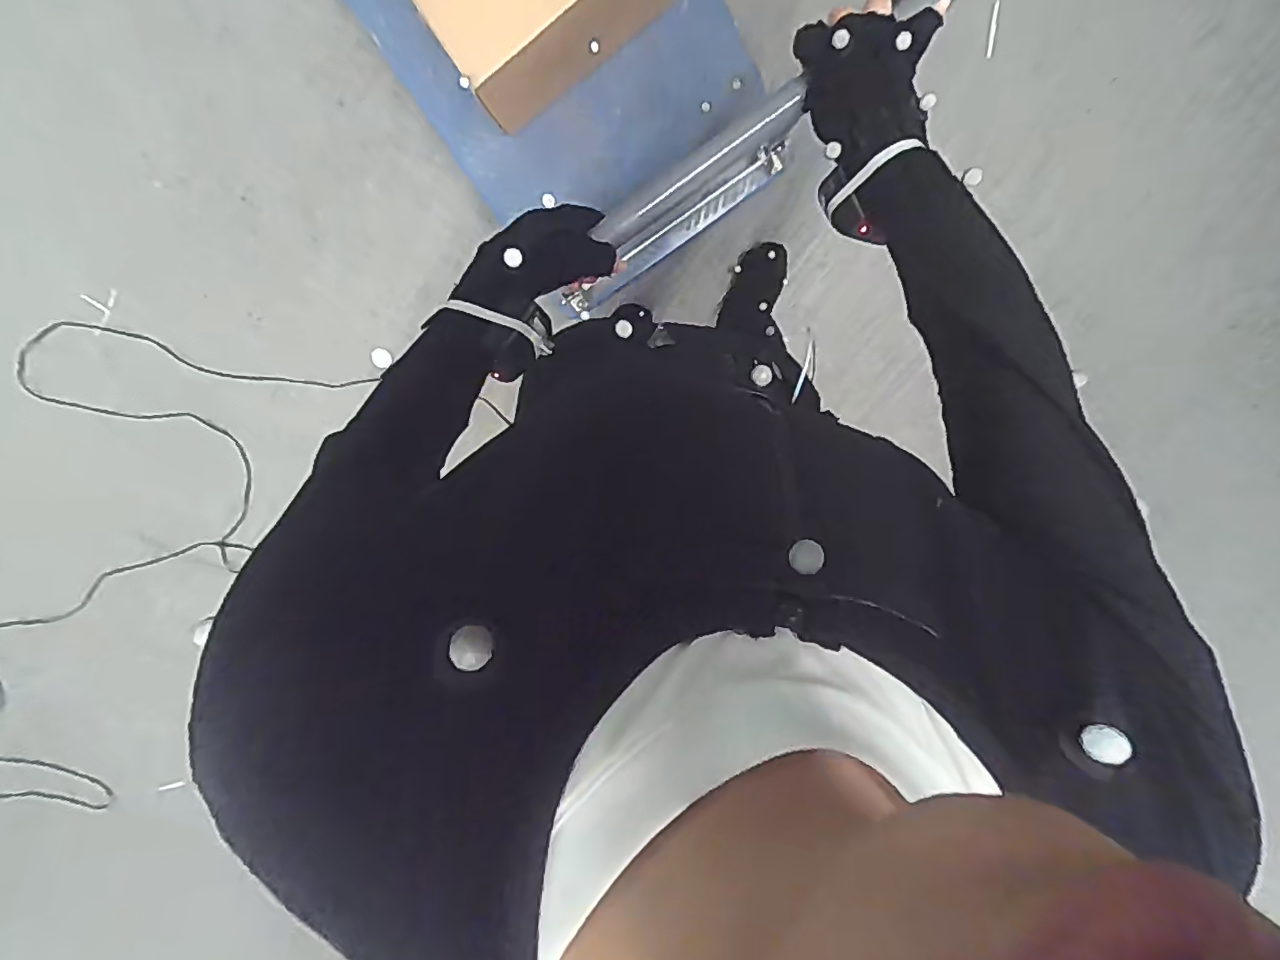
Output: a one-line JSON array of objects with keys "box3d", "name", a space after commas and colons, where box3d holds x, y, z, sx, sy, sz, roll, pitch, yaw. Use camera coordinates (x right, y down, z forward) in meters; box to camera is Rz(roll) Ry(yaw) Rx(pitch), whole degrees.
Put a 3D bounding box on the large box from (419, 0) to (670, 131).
[{"box3d": [-0.160, -0.846, 0.842, 0.408, 0.320, 0.320, -34, 109, 10], "name": "large box"}]
